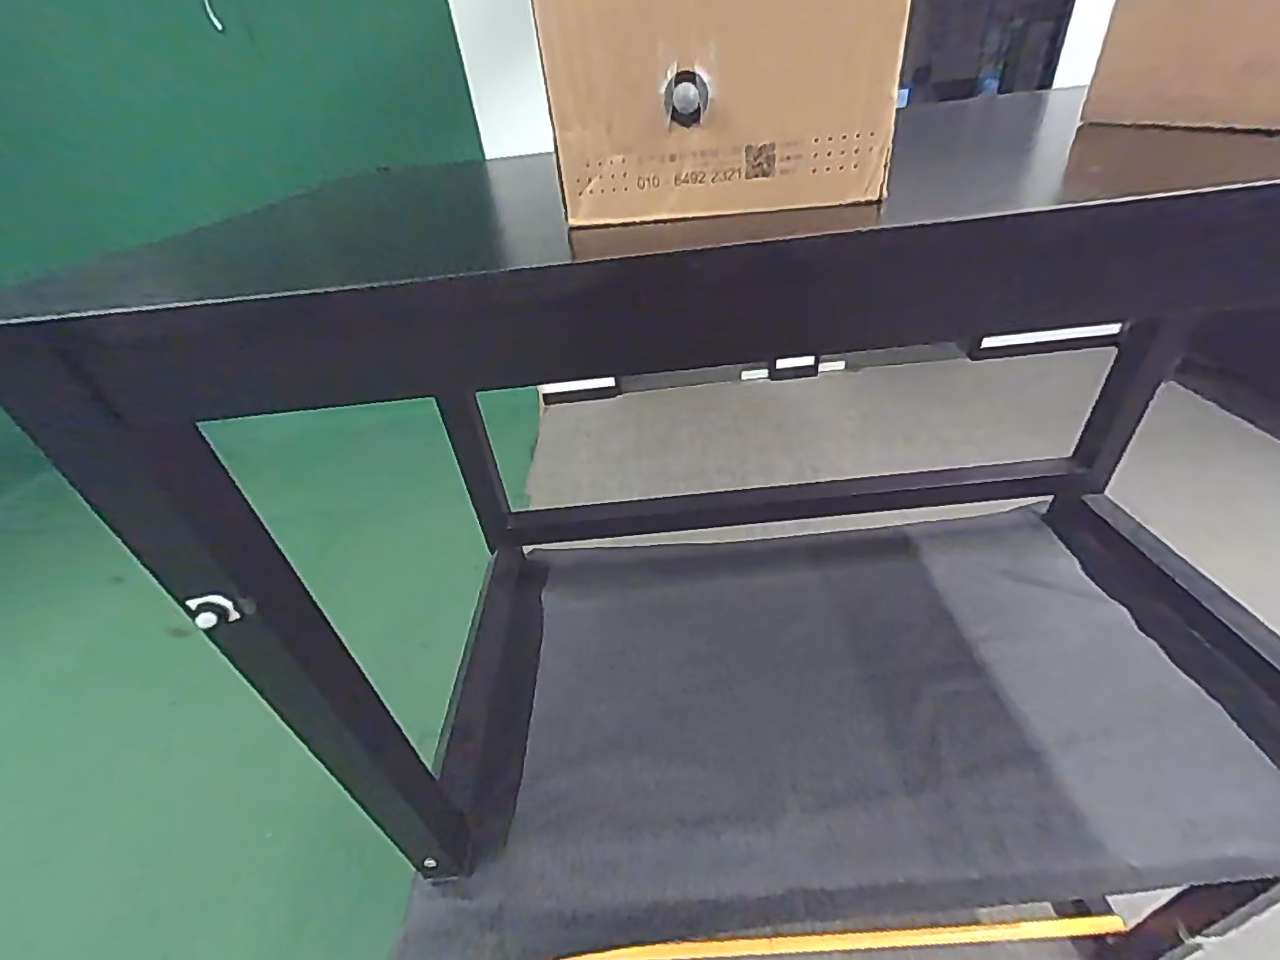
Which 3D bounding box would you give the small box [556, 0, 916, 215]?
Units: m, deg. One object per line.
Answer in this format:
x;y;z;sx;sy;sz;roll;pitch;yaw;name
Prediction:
0.049;-0.258;0.308;0.168;0.176;0.179;0;36;9;small box
